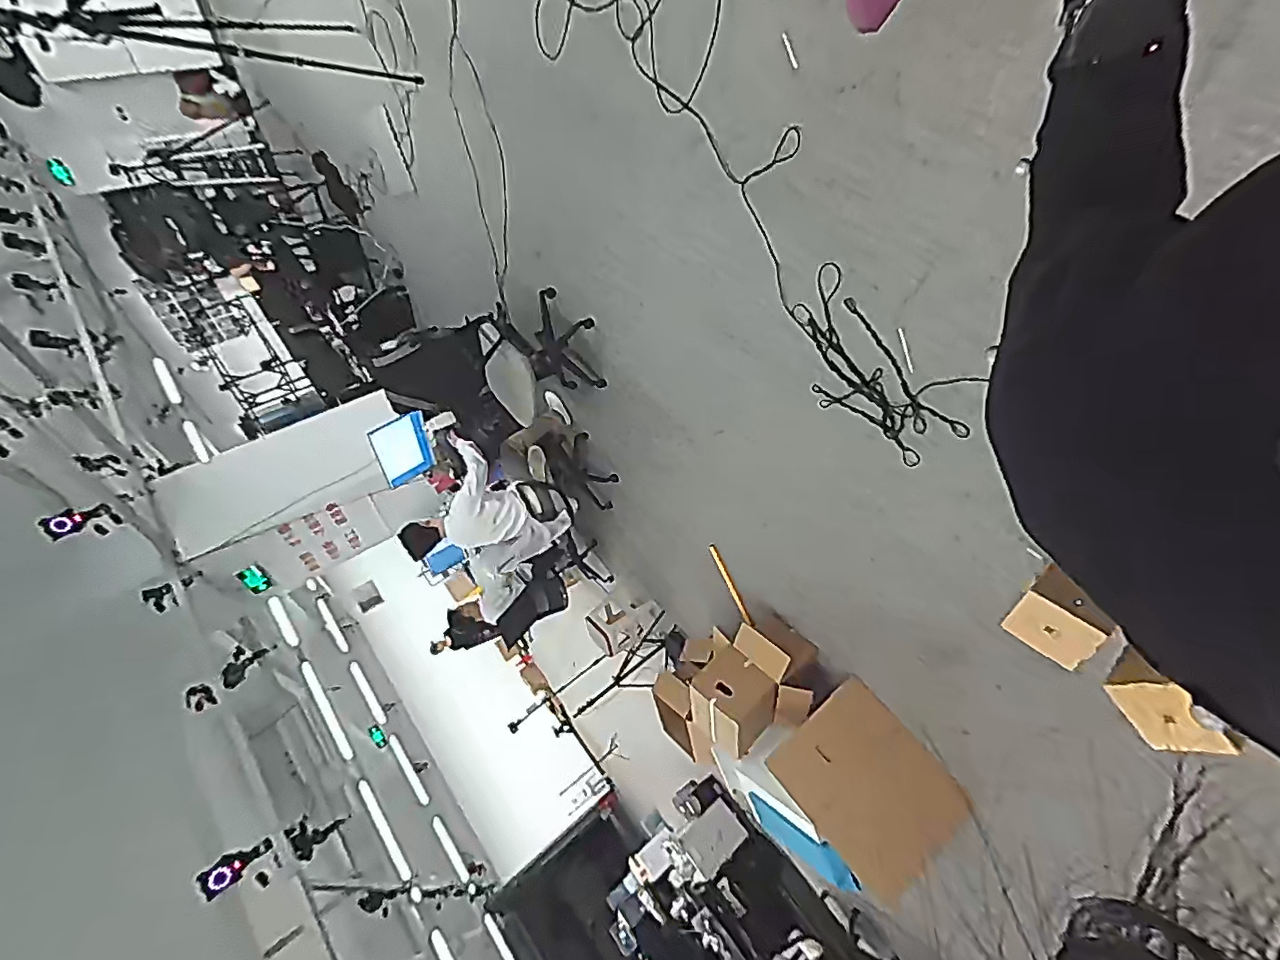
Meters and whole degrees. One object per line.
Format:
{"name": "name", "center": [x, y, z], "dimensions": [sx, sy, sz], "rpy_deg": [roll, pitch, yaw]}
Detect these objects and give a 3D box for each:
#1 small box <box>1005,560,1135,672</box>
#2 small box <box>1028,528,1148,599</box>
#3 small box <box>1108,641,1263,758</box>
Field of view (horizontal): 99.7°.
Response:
{"name": "small box", "center": [1.072, 0.333, 1.349], "dimensions": [0.179, 0.176, 0.168], "rpy_deg": [39, 146, 34]}
{"name": "small box", "center": [1.191, 0.261, 1.435], "dimensions": [0.168, 0.176, 0.179], "rpy_deg": [42, 149, 30]}
{"name": "small box", "center": [1.242, 0.494, 1.232], "dimensions": [0.179, 0.176, 0.168], "rpy_deg": [55, 154, 9]}
